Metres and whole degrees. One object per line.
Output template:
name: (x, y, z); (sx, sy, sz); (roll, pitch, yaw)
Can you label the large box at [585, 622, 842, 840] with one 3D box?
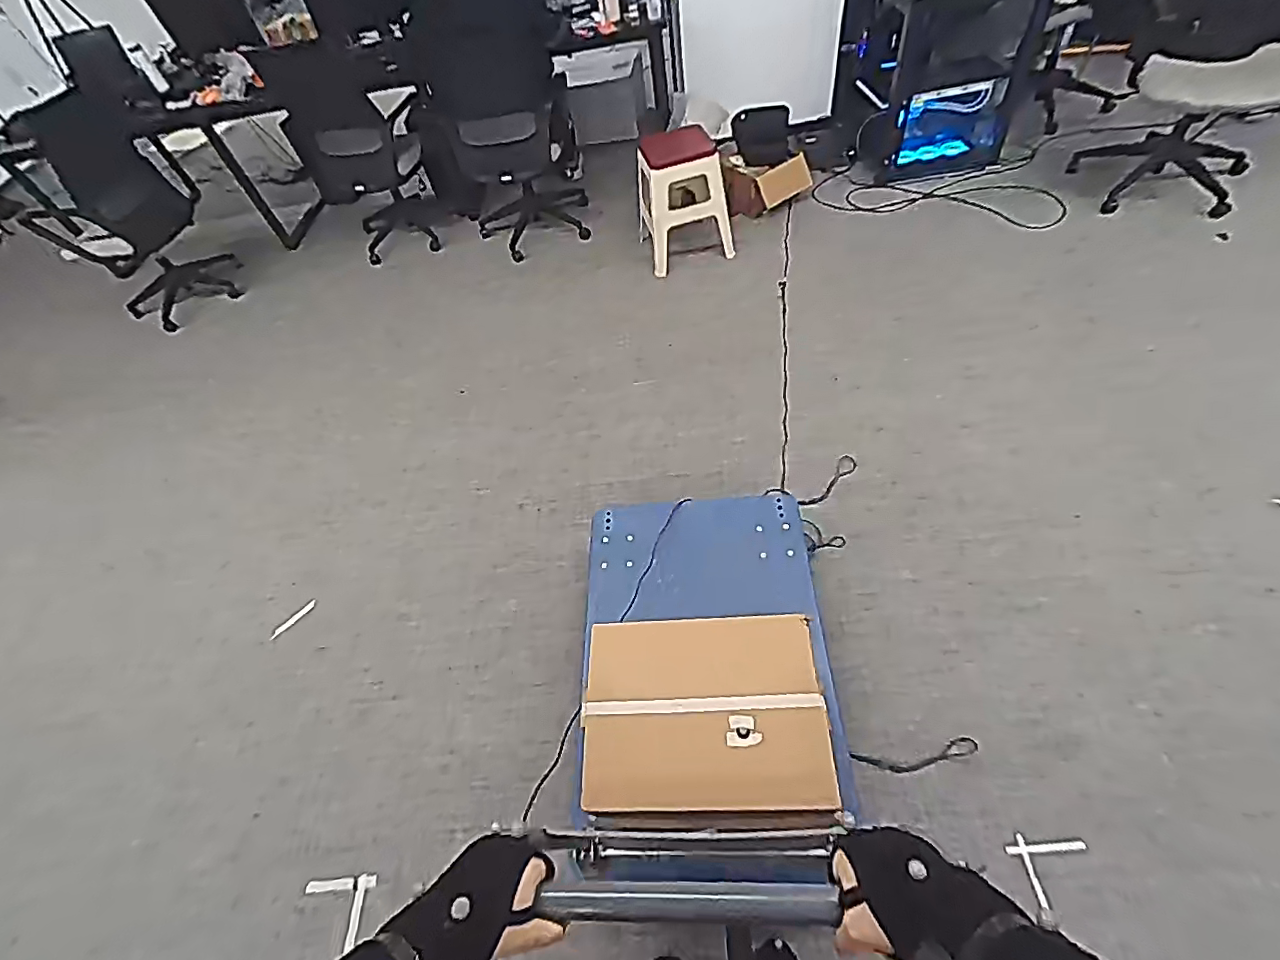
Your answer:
large box: (0.125, 0.488, 1.033); (0.408, 0.320, 0.320); (-4, 53, 6)
